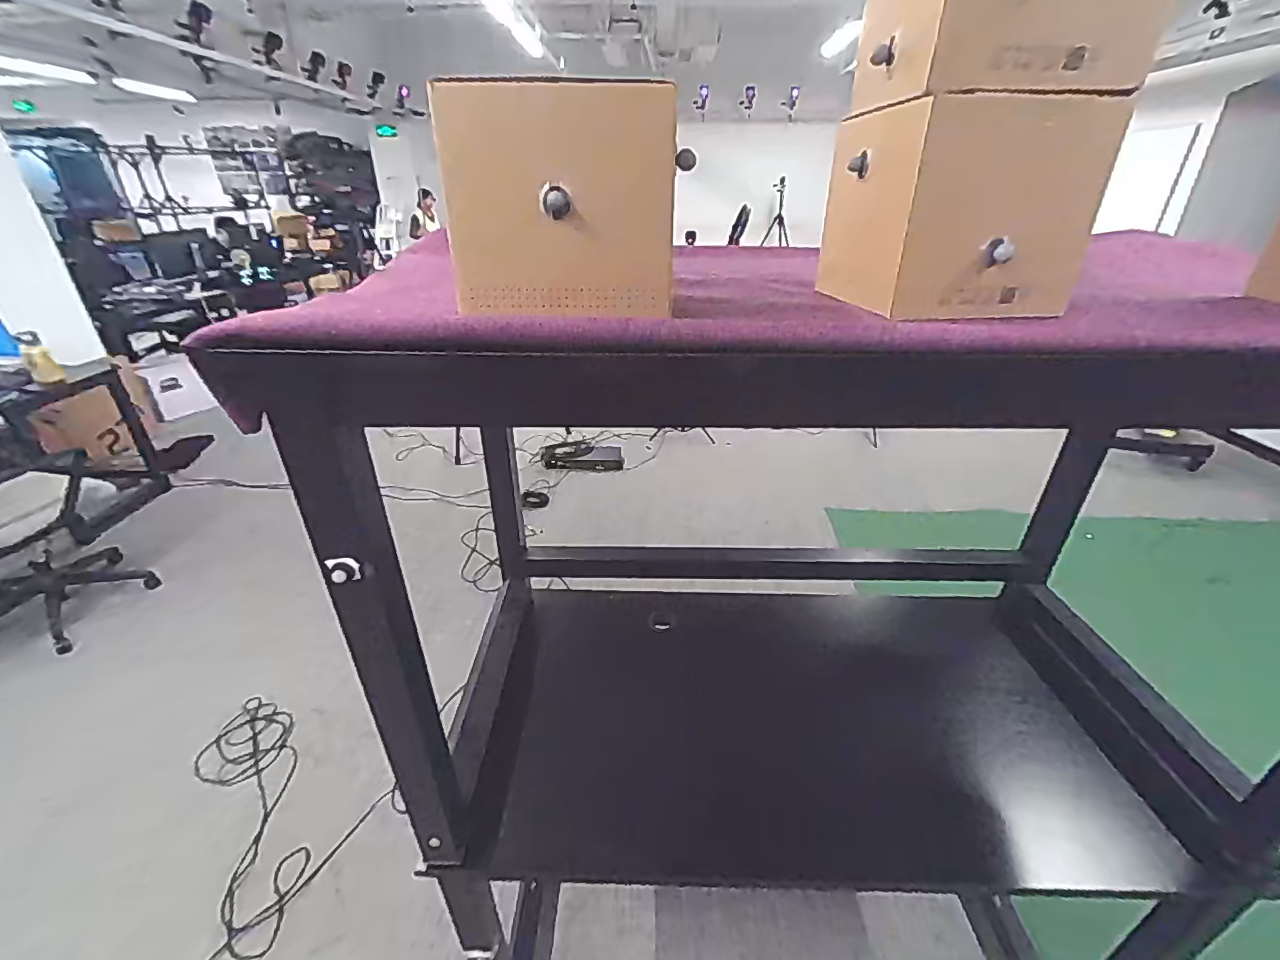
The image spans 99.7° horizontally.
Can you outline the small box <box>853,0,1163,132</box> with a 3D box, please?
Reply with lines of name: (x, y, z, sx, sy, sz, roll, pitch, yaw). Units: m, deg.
small box: (0.297, -0.396, 0.446, 0.168, 0.176, 0.179, 0, 28, -1)
